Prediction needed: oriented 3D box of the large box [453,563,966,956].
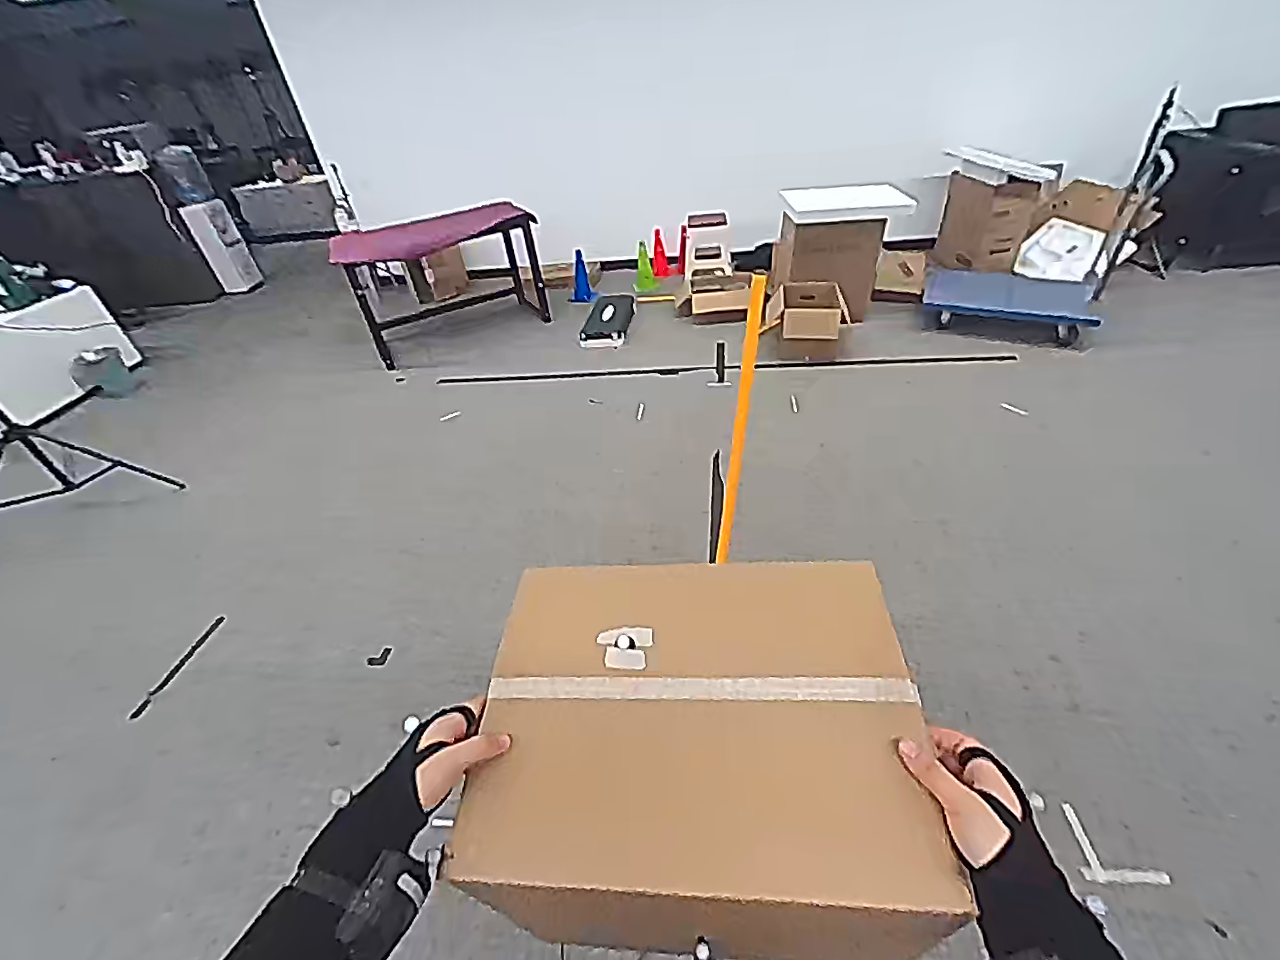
[{"bbox_3d":[0.074,0.319,0.622,0.408,0.320,0.320,-4,41,9],"label":"large box"}]
